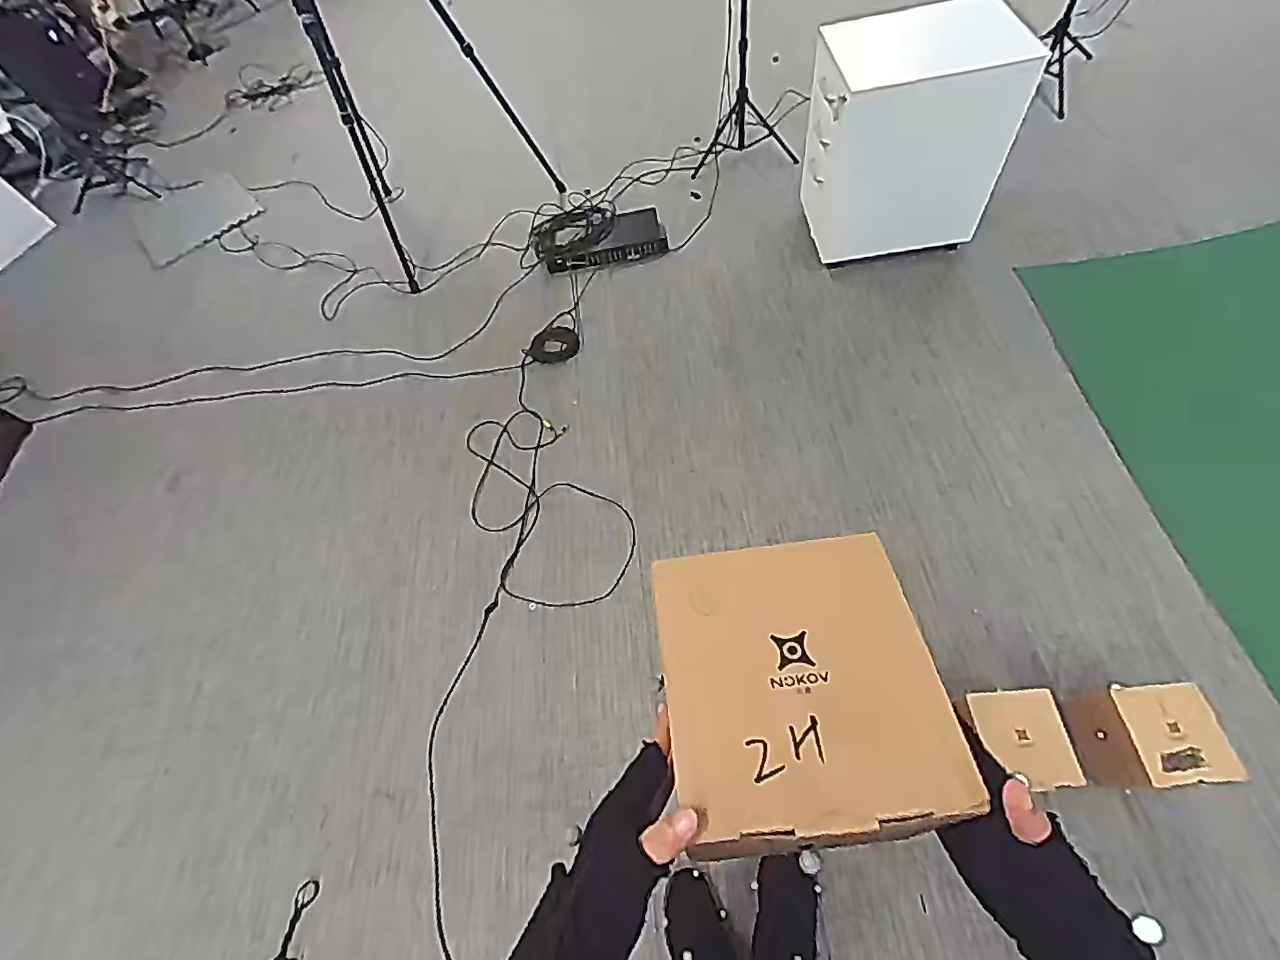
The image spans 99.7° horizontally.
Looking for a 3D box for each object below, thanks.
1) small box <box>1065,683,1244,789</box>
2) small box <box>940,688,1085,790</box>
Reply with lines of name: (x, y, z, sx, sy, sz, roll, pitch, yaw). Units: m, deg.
small box: (1.023, 0.521, 1.097, 0.168, 0.176, 0.179, -7, 59, 5)
small box: (0.757, 0.543, 1.126, 0.168, 0.176, 0.179, -6, 60, 5)
